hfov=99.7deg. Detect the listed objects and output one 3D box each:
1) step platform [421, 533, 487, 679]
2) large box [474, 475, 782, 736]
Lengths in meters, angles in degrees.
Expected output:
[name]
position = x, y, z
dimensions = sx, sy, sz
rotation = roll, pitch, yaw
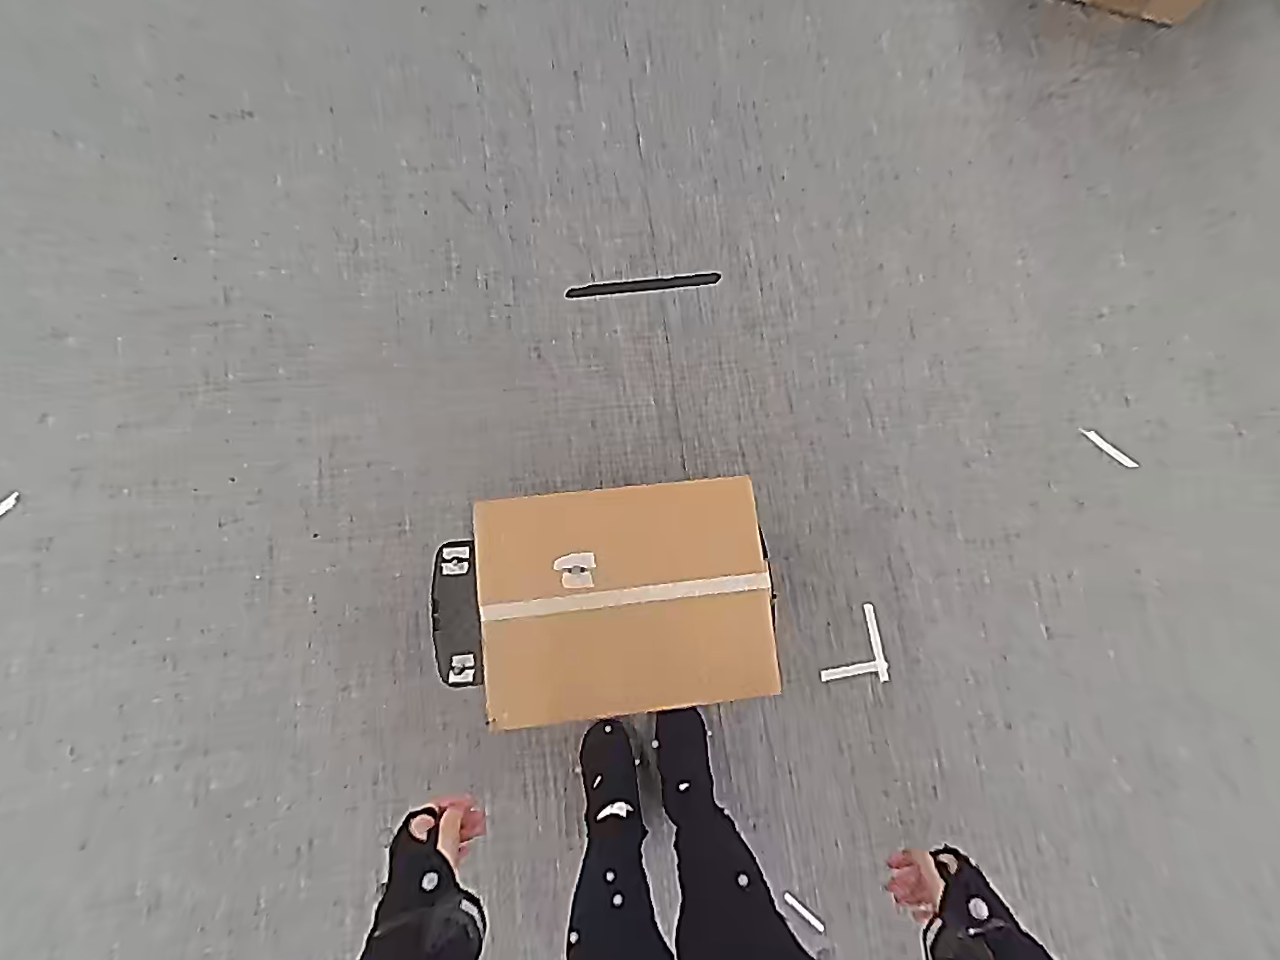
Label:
[step platform]
position = -0.088, 0.252, 1.124
dimensions = 0.684, 0.204, 0.286
rotation = 0, 80, -3
[large box]
position = -0.024, 0.189, 0.896
dimensions = 0.408, 0.320, 0.320
rotation = -6, 80, -3
